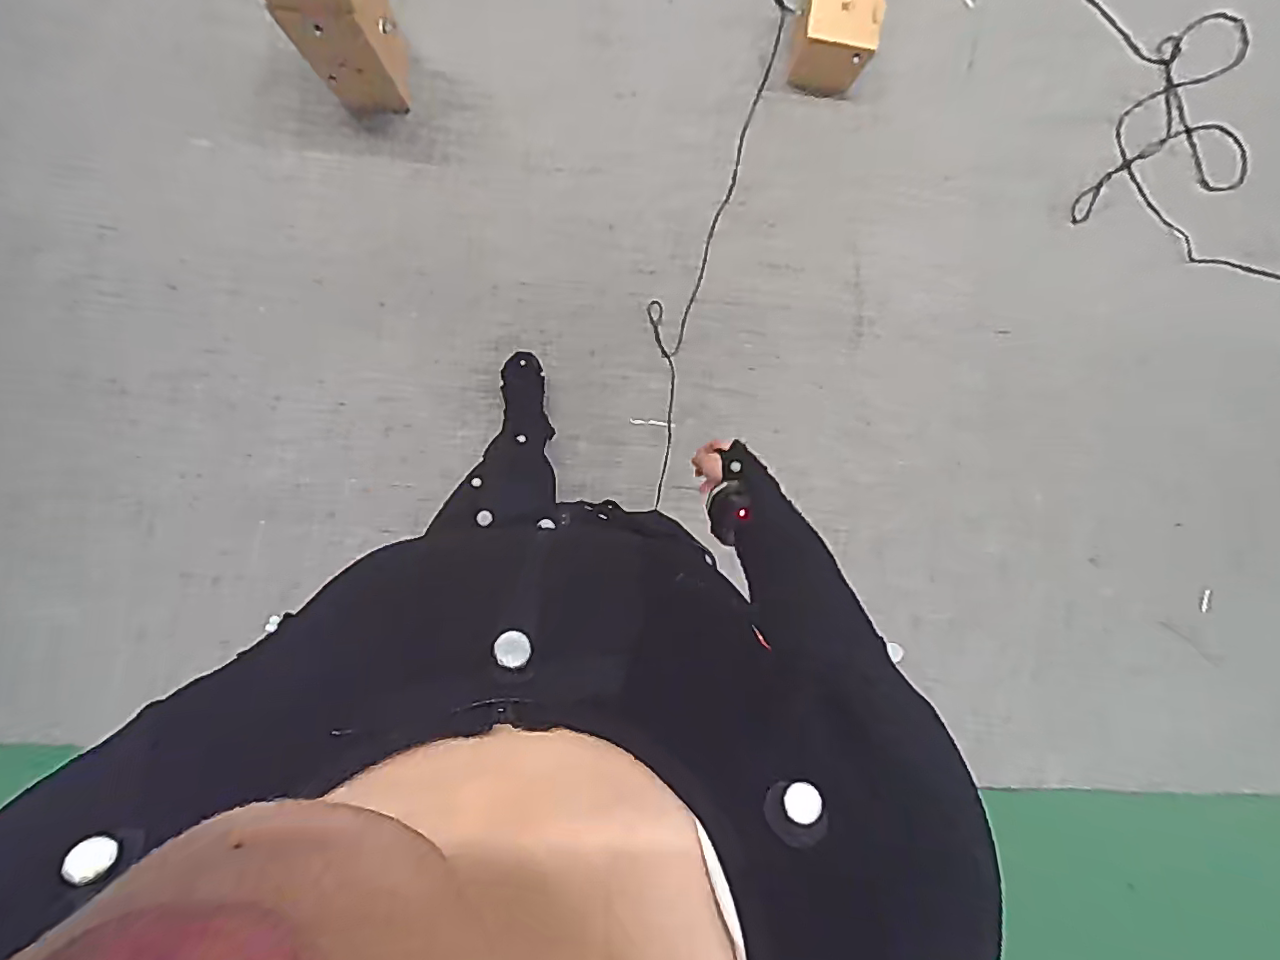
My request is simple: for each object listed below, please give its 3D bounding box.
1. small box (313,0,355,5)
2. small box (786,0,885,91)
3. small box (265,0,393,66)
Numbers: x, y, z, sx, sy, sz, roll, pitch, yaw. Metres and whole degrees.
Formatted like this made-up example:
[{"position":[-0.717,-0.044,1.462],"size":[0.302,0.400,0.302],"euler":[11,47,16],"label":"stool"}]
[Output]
[{"position":[-0.614,-0.985,0.946],"size":[0.179,0.176,0.168],"euler":[3,95,-4],"label":"small box"},{"position":[0.476,-1.102,1.331],"size":[0.179,0.176,0.168],"euler":[6,95,-5],"label":"small box"},{"position":[-0.631,-0.993,1.109],"size":[0.179,0.176,0.168],"euler":[3,96,-5],"label":"small box"}]
